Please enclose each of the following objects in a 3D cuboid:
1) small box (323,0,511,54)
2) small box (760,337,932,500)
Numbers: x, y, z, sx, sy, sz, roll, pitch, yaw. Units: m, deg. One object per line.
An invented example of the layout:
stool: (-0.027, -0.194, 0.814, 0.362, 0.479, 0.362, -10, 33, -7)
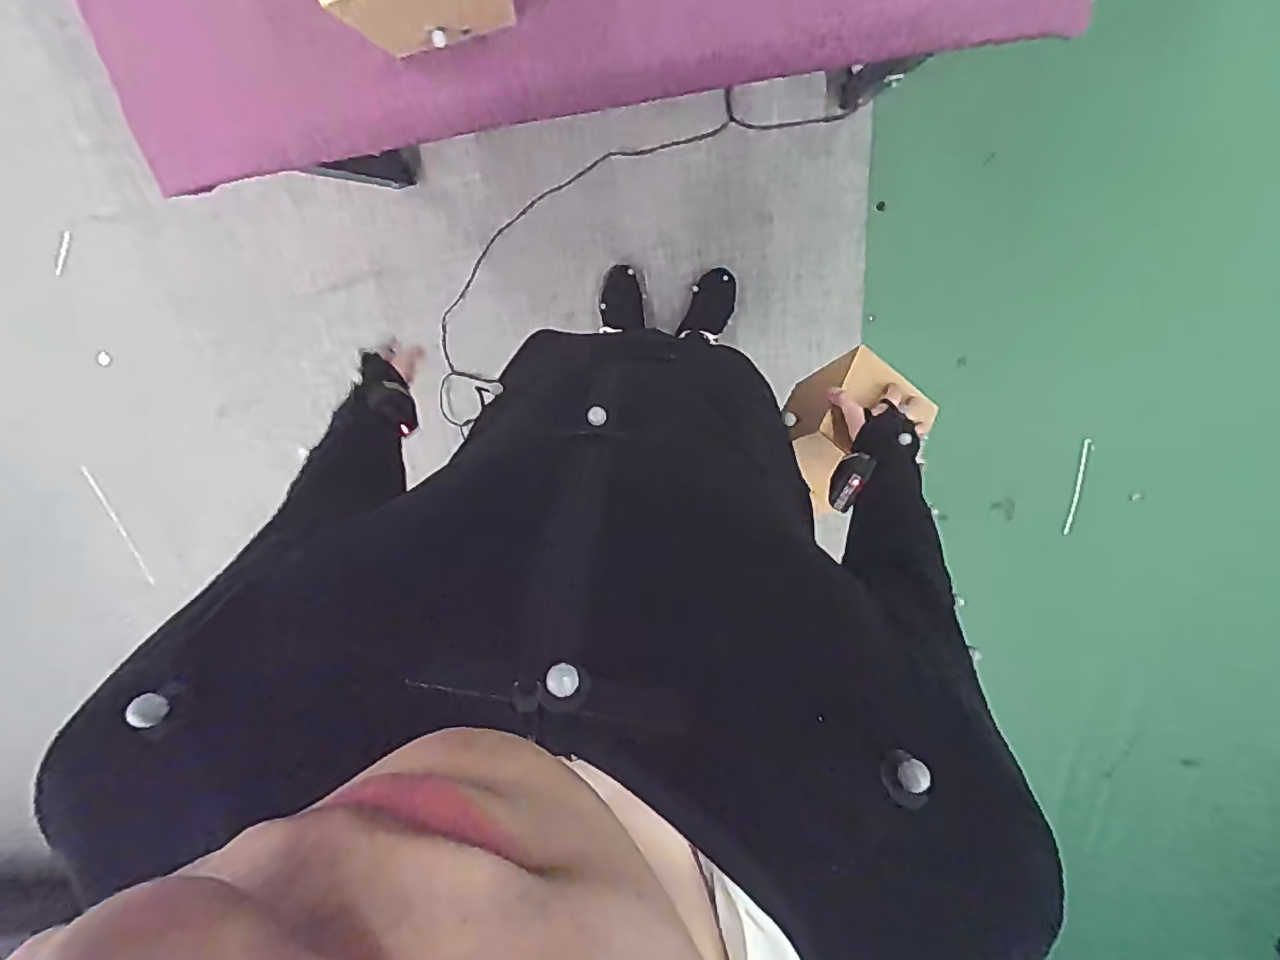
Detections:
small box: (-0.254, -0.599, 0.574, 0.168, 0.176, 0.179, -9, 113, 7)
small box: (0.320, -0.087, 0.870, 0.168, 0.176, 0.179, 36, 69, -10)
